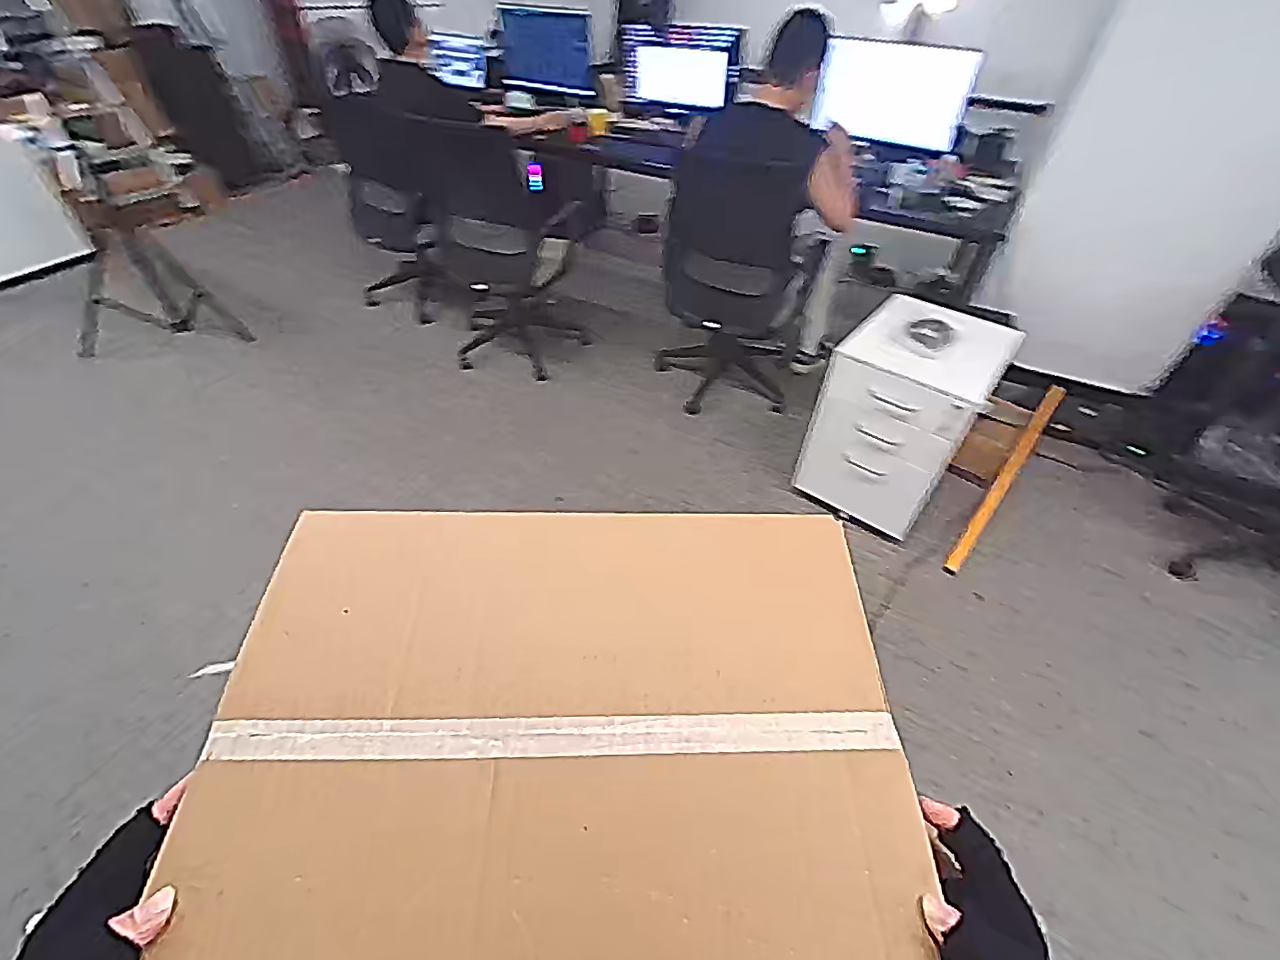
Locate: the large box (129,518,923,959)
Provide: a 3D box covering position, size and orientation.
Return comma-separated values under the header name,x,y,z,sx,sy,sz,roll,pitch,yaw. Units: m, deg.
name,x,y,z,sx,sy,sz,roll,pitch,yaw
large box,-0.061,0.244,0.451,0.408,0.320,0.320,-1,54,-3
